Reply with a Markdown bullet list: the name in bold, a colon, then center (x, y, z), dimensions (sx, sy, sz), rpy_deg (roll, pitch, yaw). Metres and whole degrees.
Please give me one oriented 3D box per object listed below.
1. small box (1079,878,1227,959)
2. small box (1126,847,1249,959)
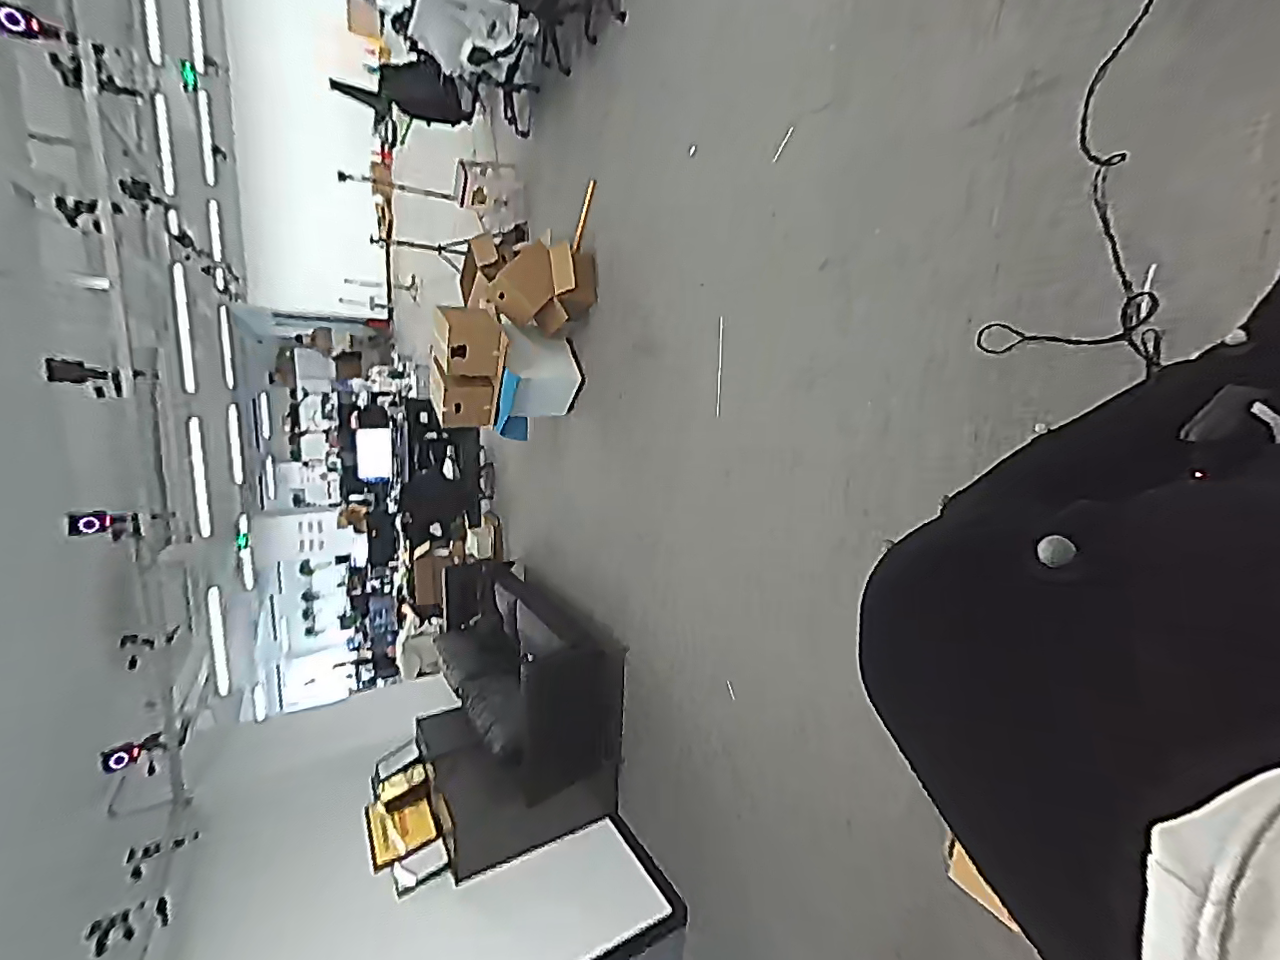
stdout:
- **small box**: center (1.035, 0.970, 1.095), dimensions (0.168, 0.176, 0.179), rpy_deg (23, 113, 55)
- **small box**: center (1.173, 0.961, 1.180), dimensions (0.168, 0.176, 0.179), rpy_deg (23, 114, 55)
